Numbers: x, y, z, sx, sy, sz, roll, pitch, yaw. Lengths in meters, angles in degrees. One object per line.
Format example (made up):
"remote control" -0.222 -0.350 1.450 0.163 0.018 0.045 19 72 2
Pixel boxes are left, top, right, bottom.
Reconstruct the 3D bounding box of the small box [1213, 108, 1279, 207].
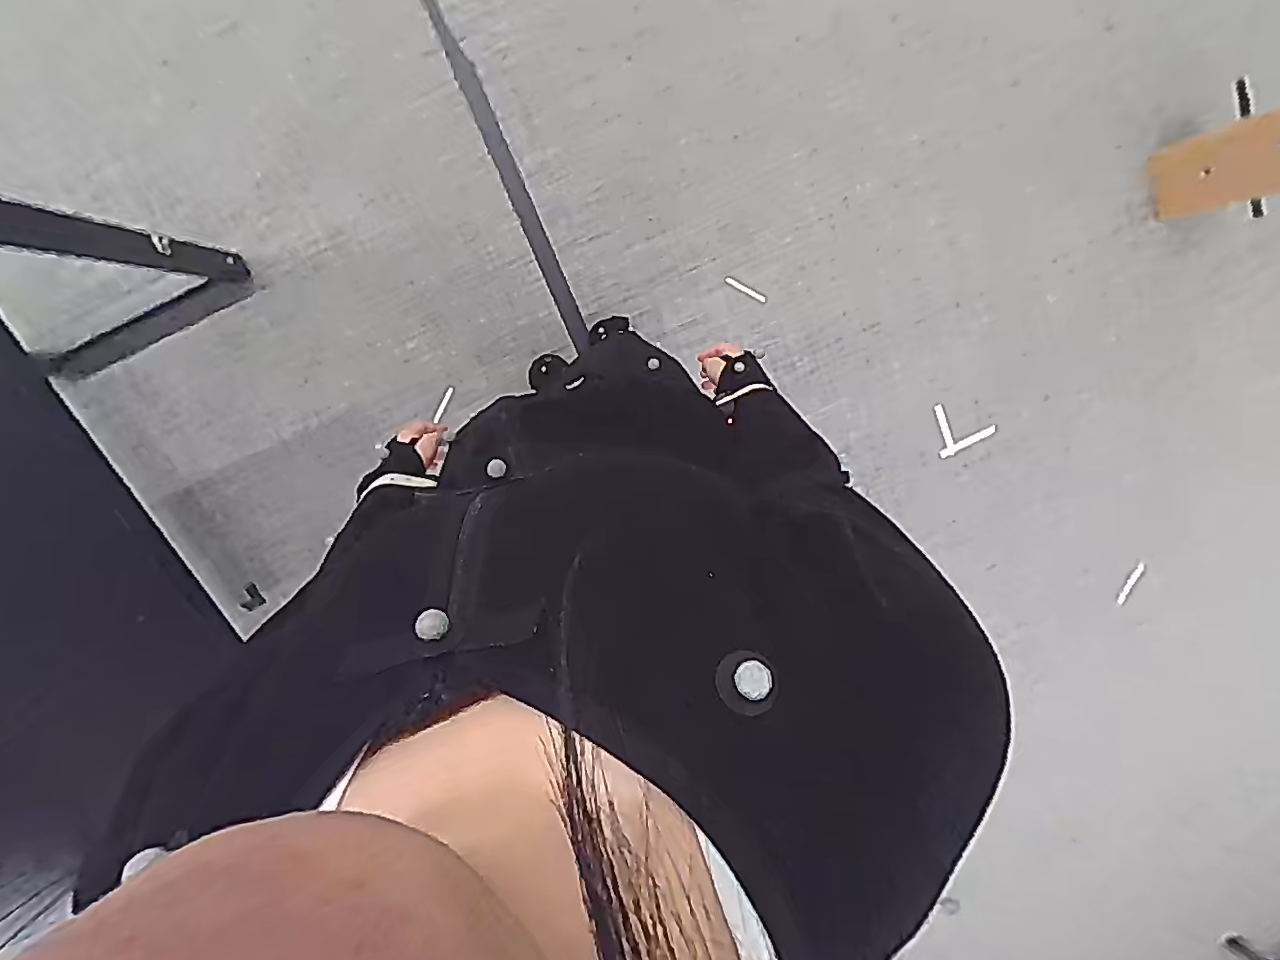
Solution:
"small box" 1.458 -0.750 1.219 0.168 0.176 0.179 -22 104 1

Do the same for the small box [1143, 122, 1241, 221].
"small box" 1.448 -0.784 1.380 0.168 0.176 0.179 -24 105 1
